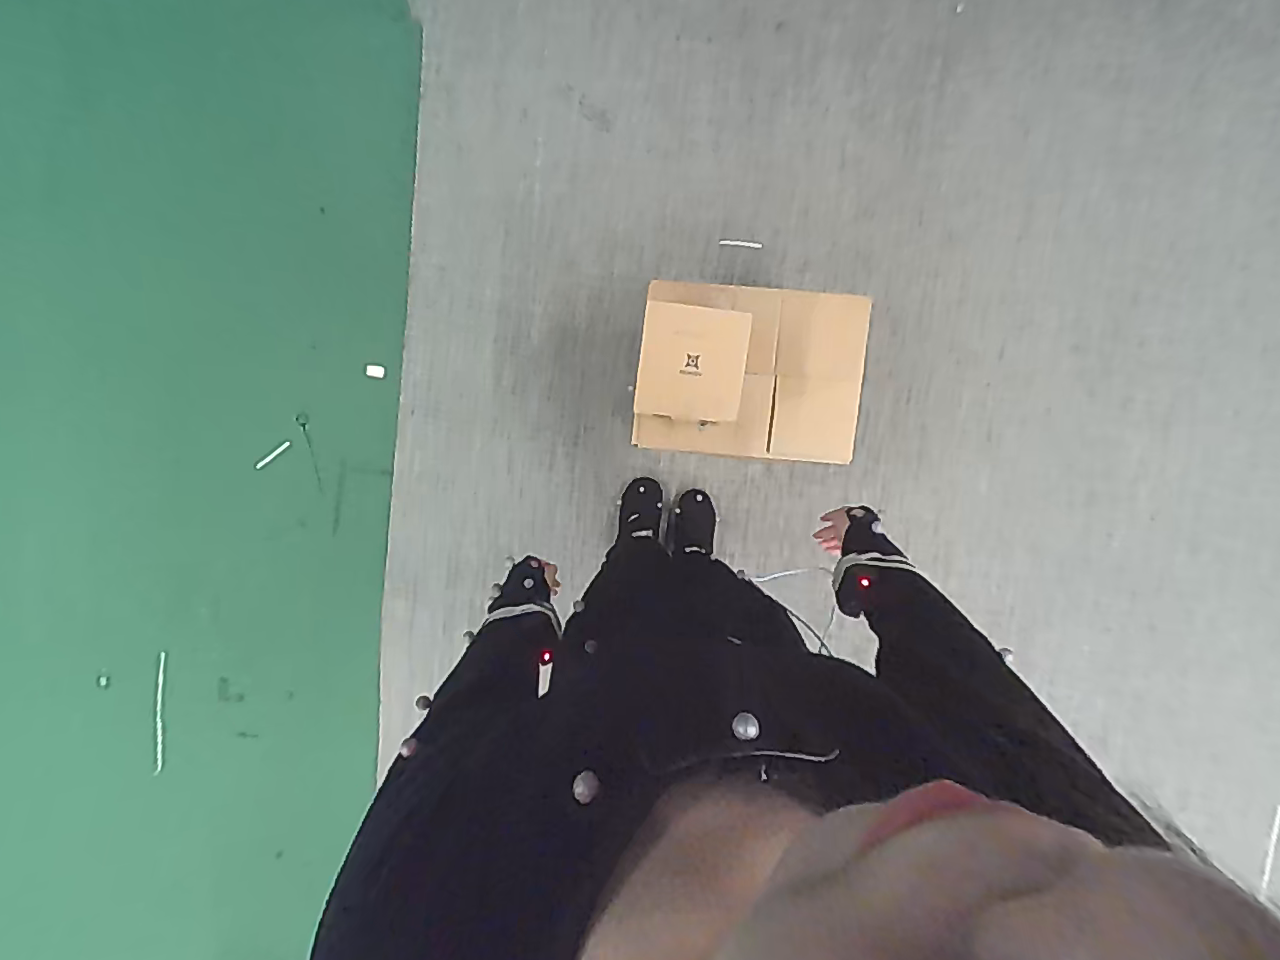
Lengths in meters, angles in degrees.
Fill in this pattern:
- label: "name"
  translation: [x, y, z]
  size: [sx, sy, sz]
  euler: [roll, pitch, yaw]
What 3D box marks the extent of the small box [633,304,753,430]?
- label: "small box"
  translation: [0.082, -0.180, 0.906]
  size: [0.168, 0.176, 0.179]
  euler: [7, 96, 0]
